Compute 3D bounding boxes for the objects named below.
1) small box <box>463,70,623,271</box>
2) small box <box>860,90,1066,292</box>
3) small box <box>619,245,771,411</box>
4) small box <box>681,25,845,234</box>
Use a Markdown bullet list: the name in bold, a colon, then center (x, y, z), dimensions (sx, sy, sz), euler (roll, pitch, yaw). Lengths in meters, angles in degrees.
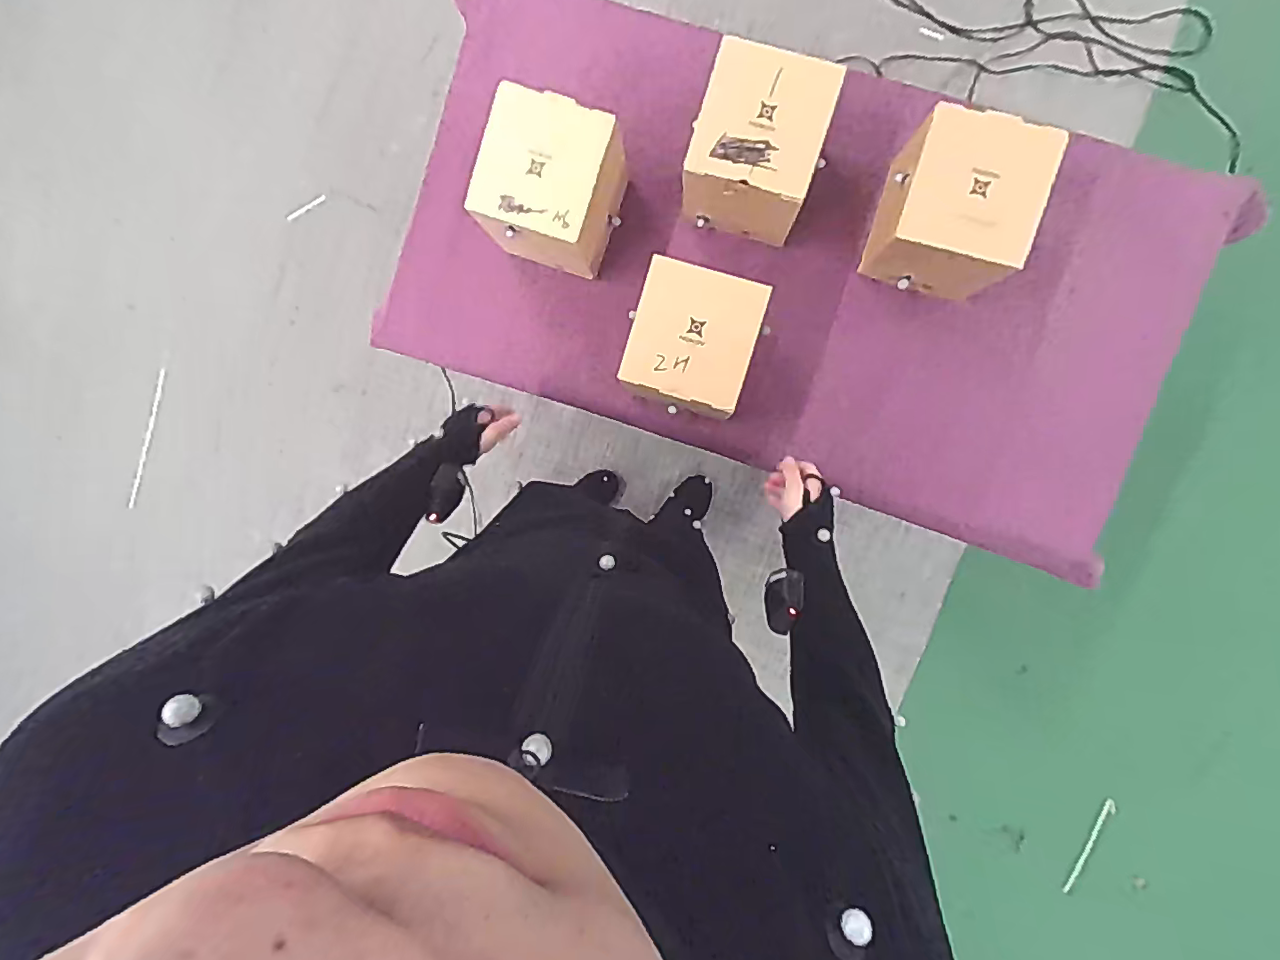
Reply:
- **small box**: center (-0.129, -0.438, 0.794), dimensions (0.168, 0.176, 0.179), euler (19, 95, 4)
- **small box**: center (0.433, -0.389, 0.760), dimensions (0.168, 0.176, 0.179), euler (17, 96, 4)
- **small box**: center (0.076, -0.210, 0.797), dimensions (0.168, 0.176, 0.179), euler (17, 95, 3)
- **small box**: center (0.164, -0.480, 0.771), dimensions (0.168, 0.176, 0.179), euler (18, 95, 3)
